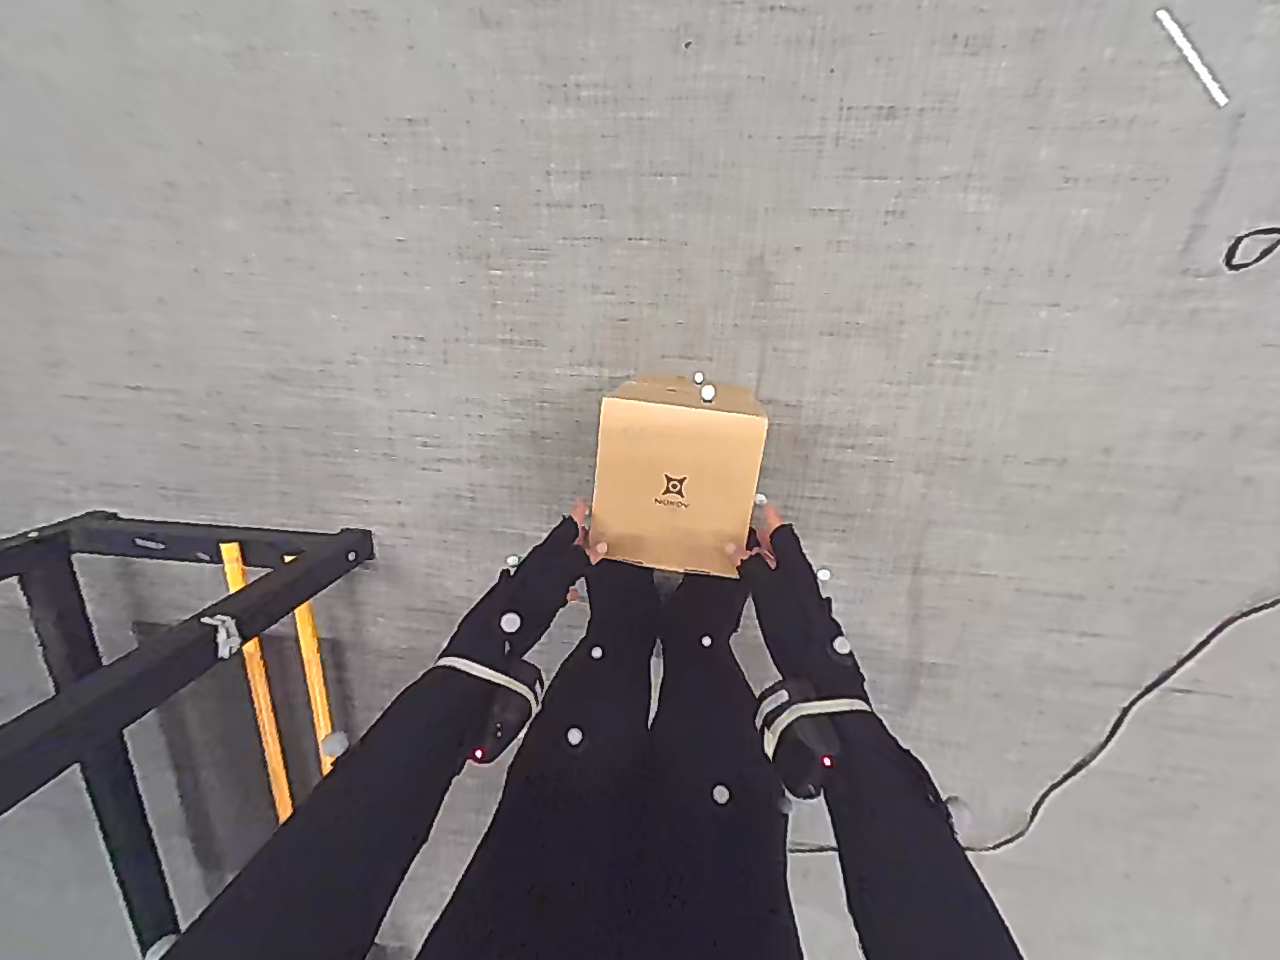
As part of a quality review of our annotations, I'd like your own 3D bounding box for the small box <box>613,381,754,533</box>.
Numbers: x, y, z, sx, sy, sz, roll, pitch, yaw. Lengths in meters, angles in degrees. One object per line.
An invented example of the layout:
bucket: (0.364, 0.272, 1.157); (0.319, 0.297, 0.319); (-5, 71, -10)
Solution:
small box: (0.063, -0.044, 0.790); (0.168, 0.176, 0.179); (9, 107, 5)
